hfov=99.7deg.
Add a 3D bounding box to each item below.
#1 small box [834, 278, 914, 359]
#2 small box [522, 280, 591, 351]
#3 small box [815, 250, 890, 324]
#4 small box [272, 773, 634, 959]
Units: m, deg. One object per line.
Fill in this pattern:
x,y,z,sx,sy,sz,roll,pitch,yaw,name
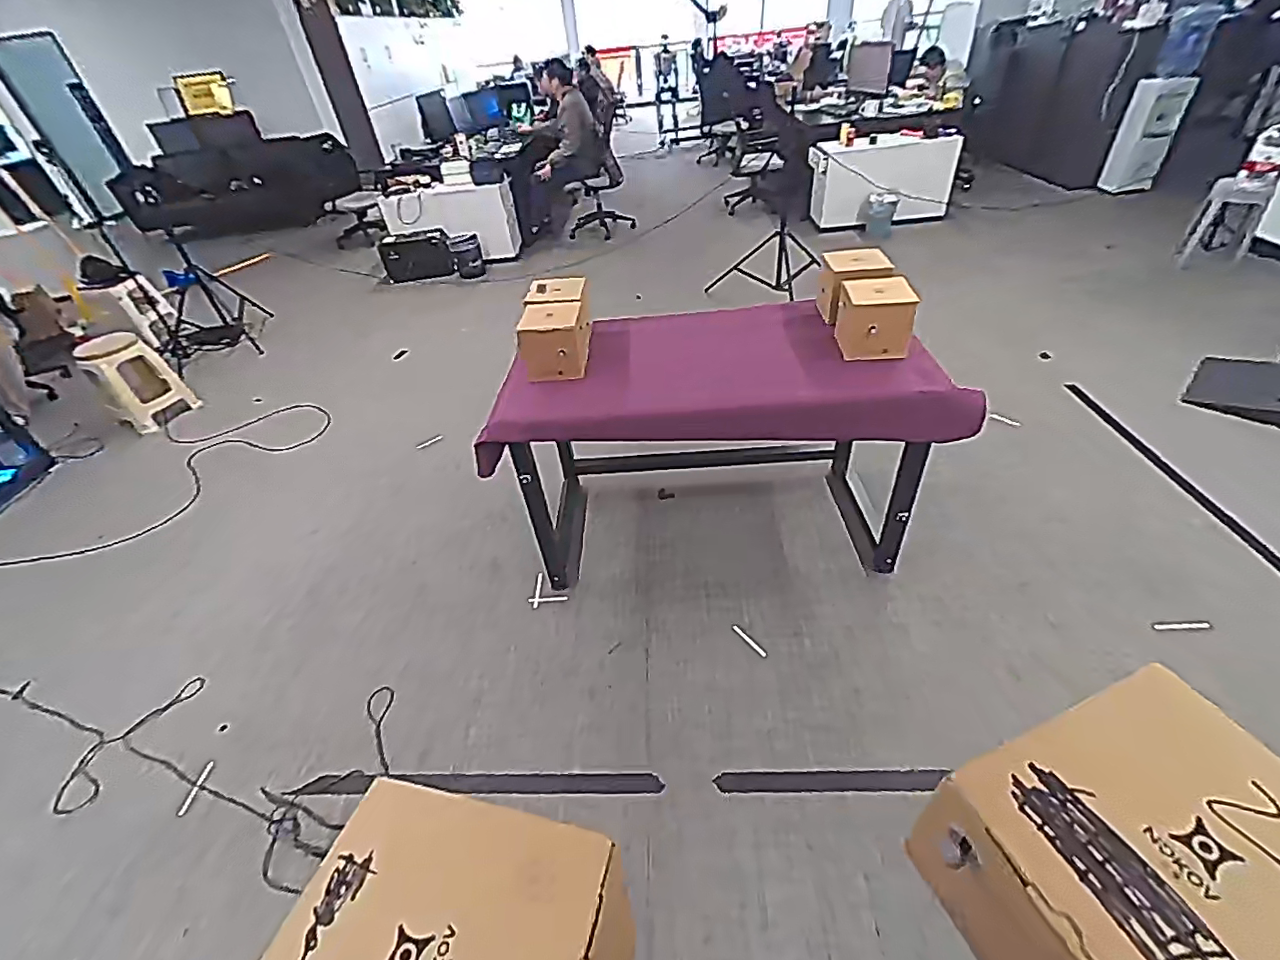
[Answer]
0.652,-0.451,1.526,0.168,0.176,0.179,-1,40,8,small box
-0.264,-0.528,1.743,0.179,0.176,0.168,-1,42,5,small box
0.654,-0.601,1.691,0.179,0.176,0.168,-2,41,4,small box
-0.107,0.323,0.335,0.179,0.176,0.168,7,36,14,small box
